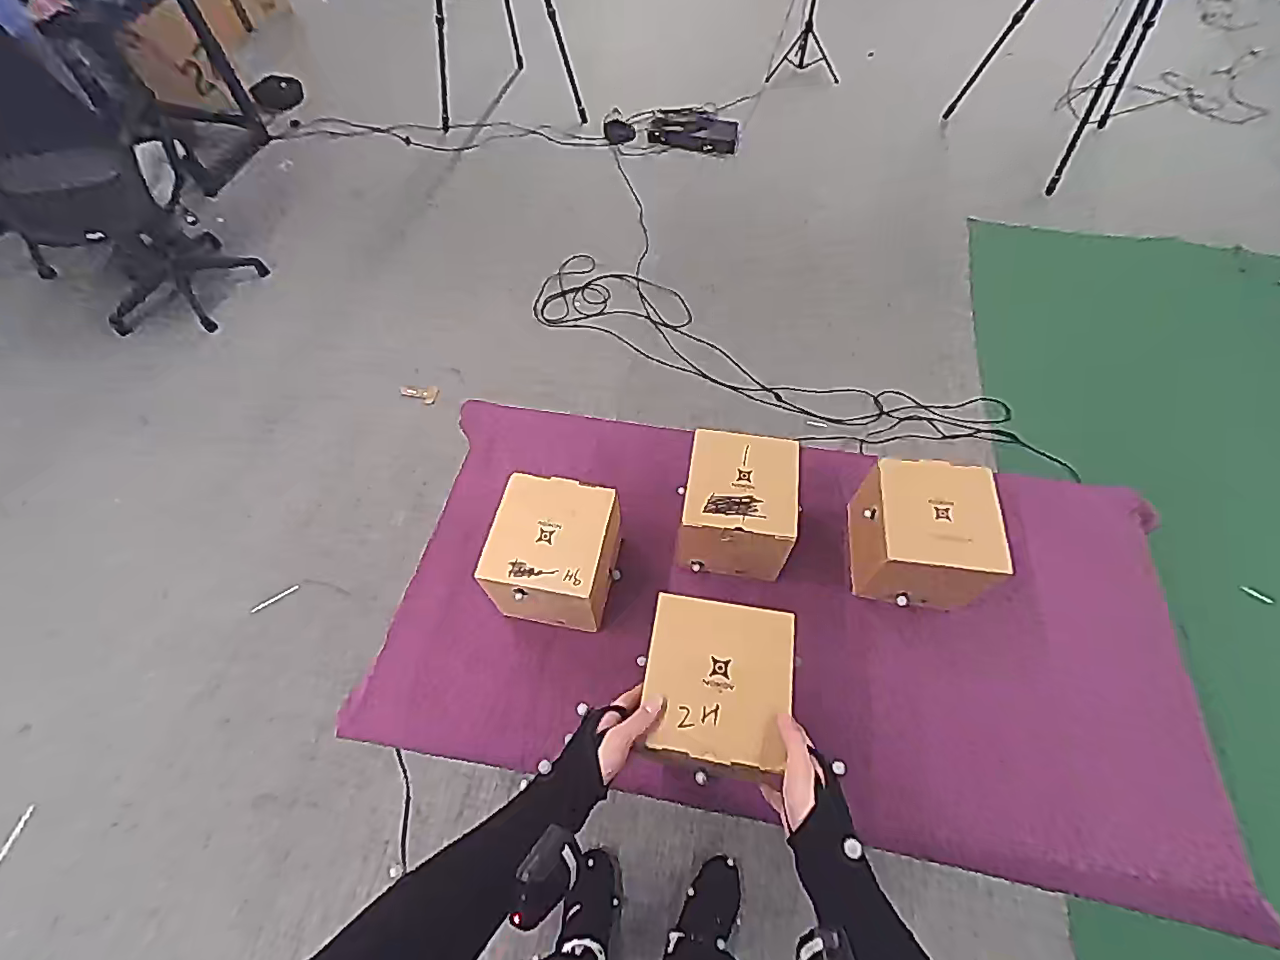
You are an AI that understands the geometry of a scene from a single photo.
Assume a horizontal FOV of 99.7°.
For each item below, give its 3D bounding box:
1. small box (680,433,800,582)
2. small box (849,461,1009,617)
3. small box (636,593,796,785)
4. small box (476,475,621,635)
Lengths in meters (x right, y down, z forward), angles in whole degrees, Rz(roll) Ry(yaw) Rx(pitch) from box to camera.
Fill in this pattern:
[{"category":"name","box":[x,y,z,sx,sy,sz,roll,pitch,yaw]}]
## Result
[{"category":"small box","box":[0.157,0.051,0.883,0.168,0.176,0.179,8,58,6]},{"category":"small box","box":[0.437,0.096,0.852,0.168,0.176,0.179,7,59,7]},{"category":"small box","box":[0.093,0.267,0.681,0.168,0.176,0.179,8,58,8]},{"category":"small box","box":[-0.128,0.119,0.841,0.168,0.176,0.179,9,58,8]}]
